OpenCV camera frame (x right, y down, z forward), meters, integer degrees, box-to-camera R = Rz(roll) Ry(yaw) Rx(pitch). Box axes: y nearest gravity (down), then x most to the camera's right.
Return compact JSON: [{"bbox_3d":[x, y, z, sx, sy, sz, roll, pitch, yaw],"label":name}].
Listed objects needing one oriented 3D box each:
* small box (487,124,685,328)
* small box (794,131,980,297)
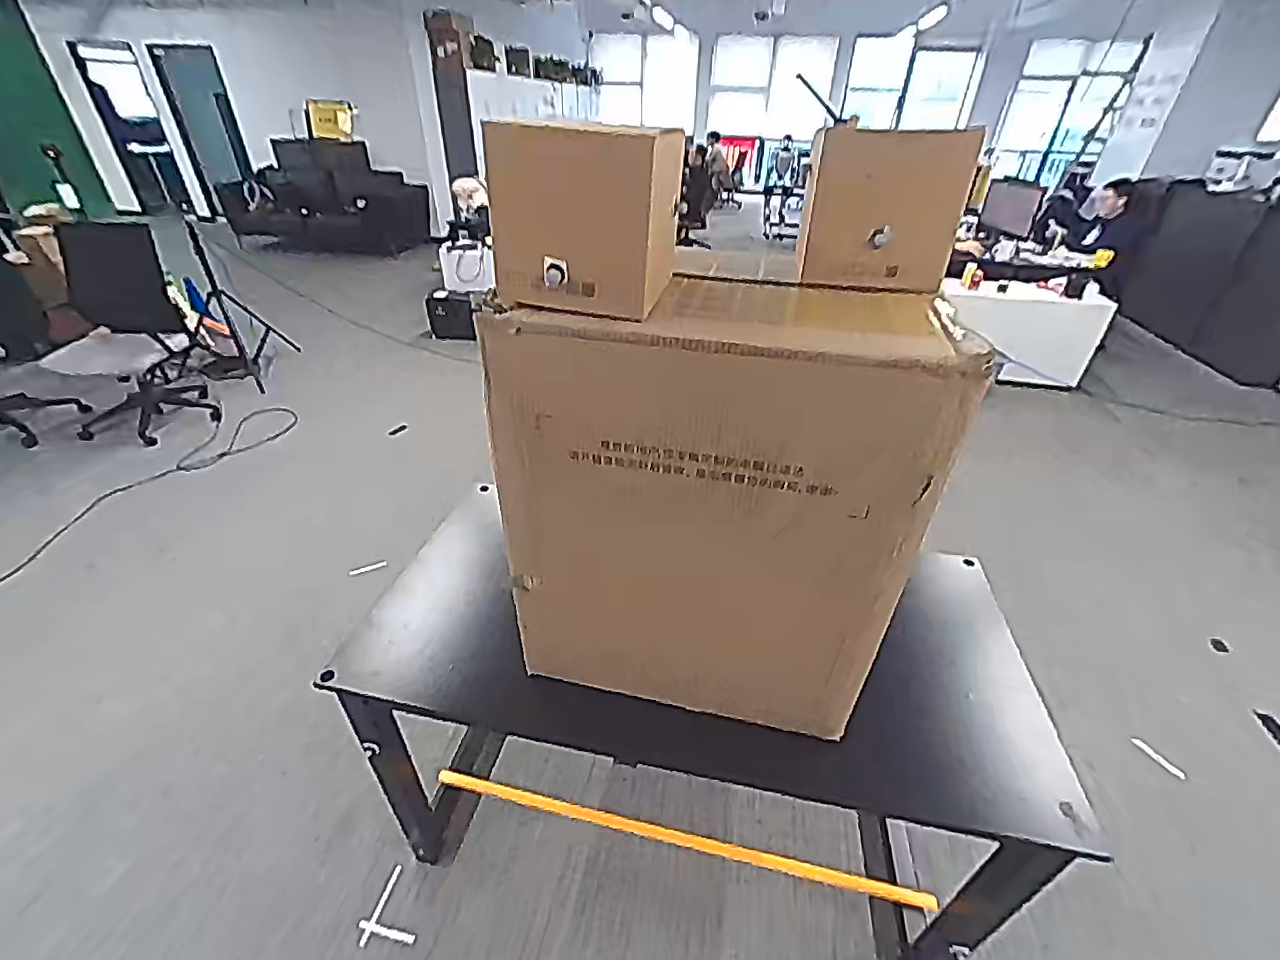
[{"bbox_3d":[-0.051,-0.284,0.596,0.168,0.176,0.179,9,36,8],"label":"small box"},{"bbox_3d":[0.297,-0.344,0.697,0.168,0.176,0.179,6,32,9],"label":"small box"}]
